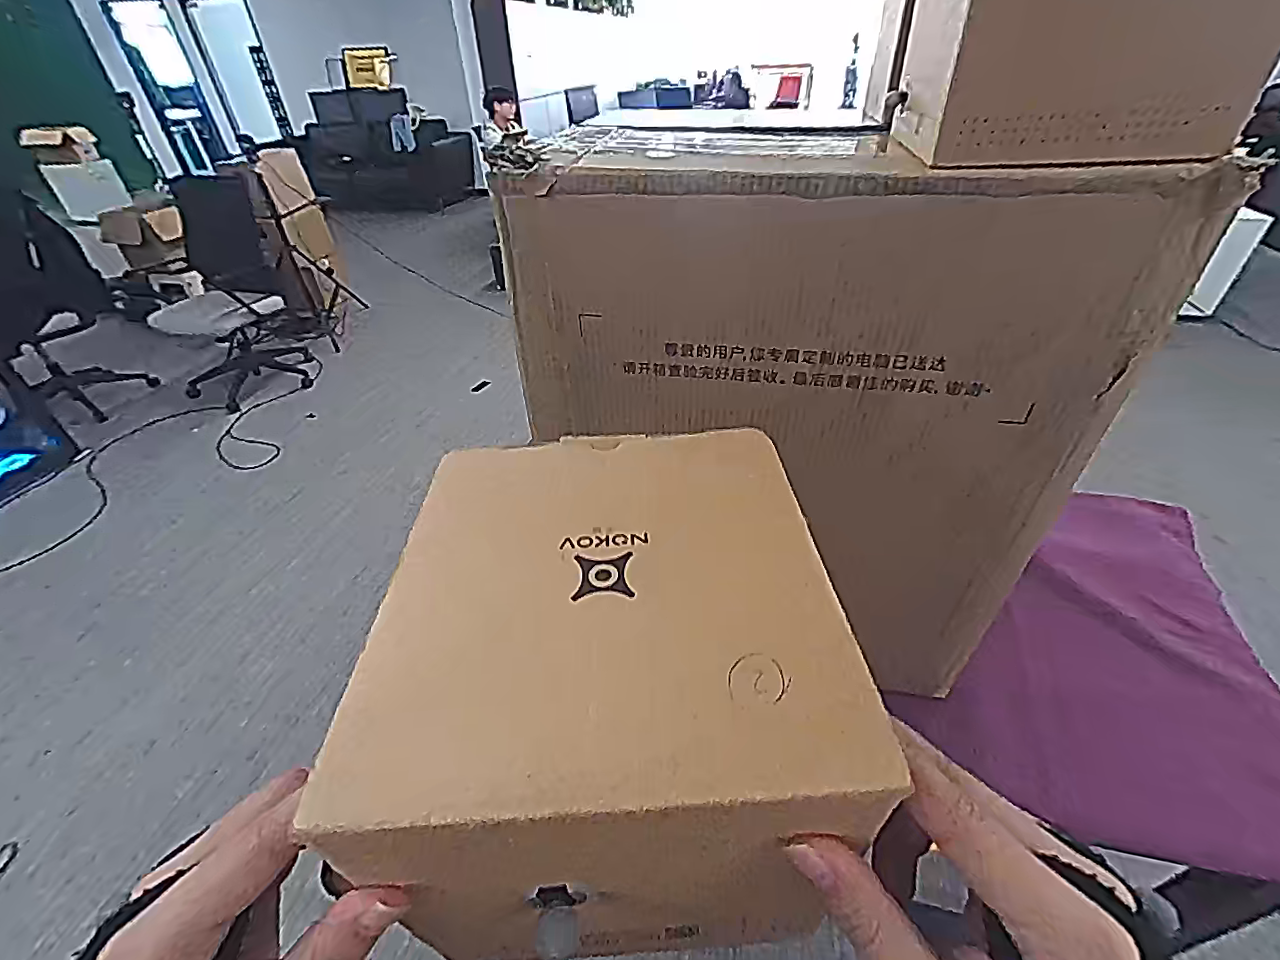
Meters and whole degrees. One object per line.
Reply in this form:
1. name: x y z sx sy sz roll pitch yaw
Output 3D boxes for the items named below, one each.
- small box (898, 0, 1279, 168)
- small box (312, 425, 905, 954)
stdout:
1. small box: 0.290 -0.320 0.367 0.179 0.176 0.168 4 39 10
2. small box: -0.007 0.096 0.258 0.168 0.176 0.179 -5 38 -1
